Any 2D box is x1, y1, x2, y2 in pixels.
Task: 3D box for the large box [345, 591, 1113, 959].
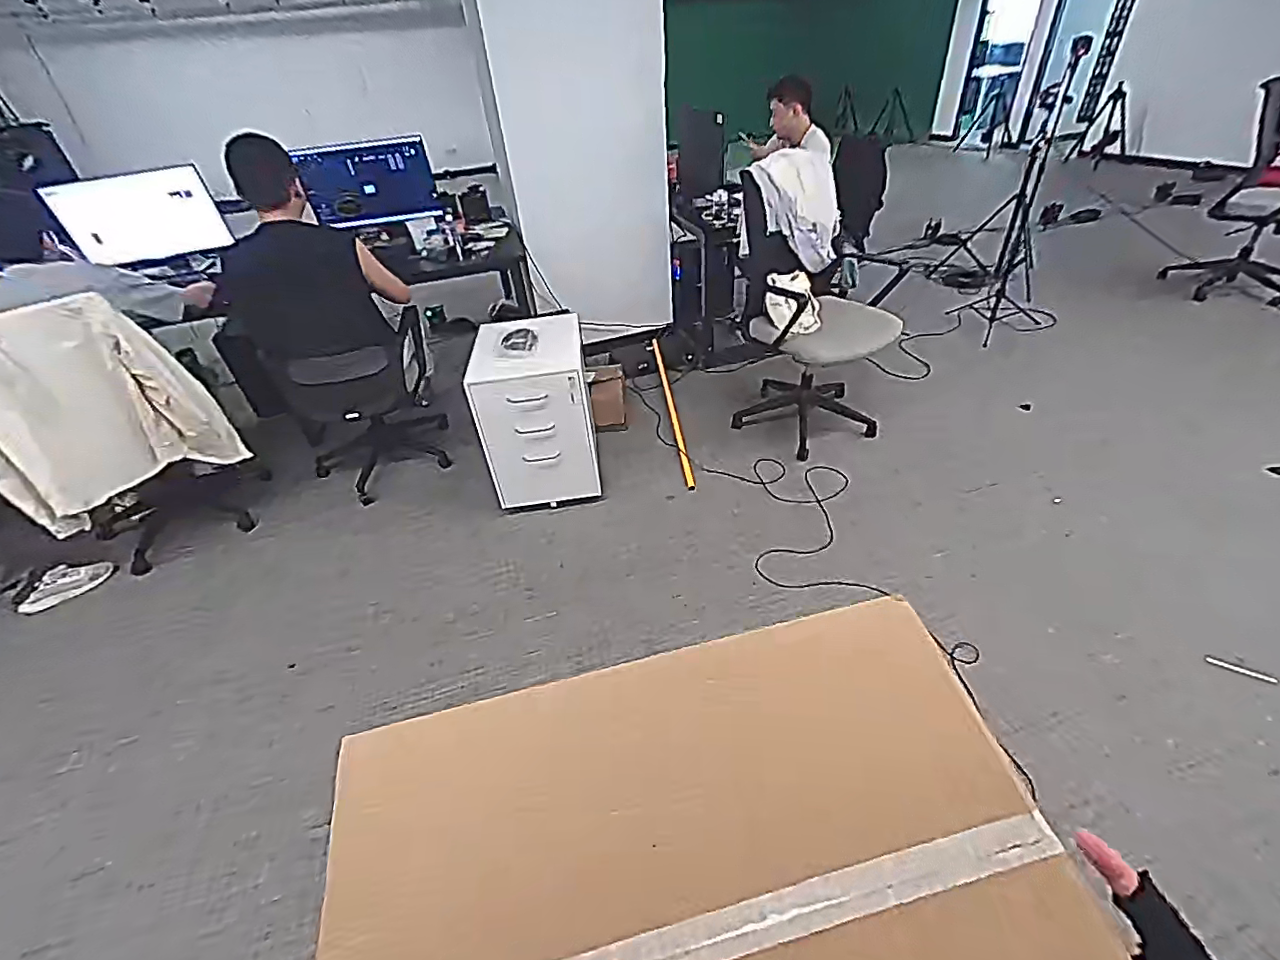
[{"bbox_3d":[0.044,0.337,0.413,0.408,0.320,0.320,-13,52,-6],"label":"large box"}]
